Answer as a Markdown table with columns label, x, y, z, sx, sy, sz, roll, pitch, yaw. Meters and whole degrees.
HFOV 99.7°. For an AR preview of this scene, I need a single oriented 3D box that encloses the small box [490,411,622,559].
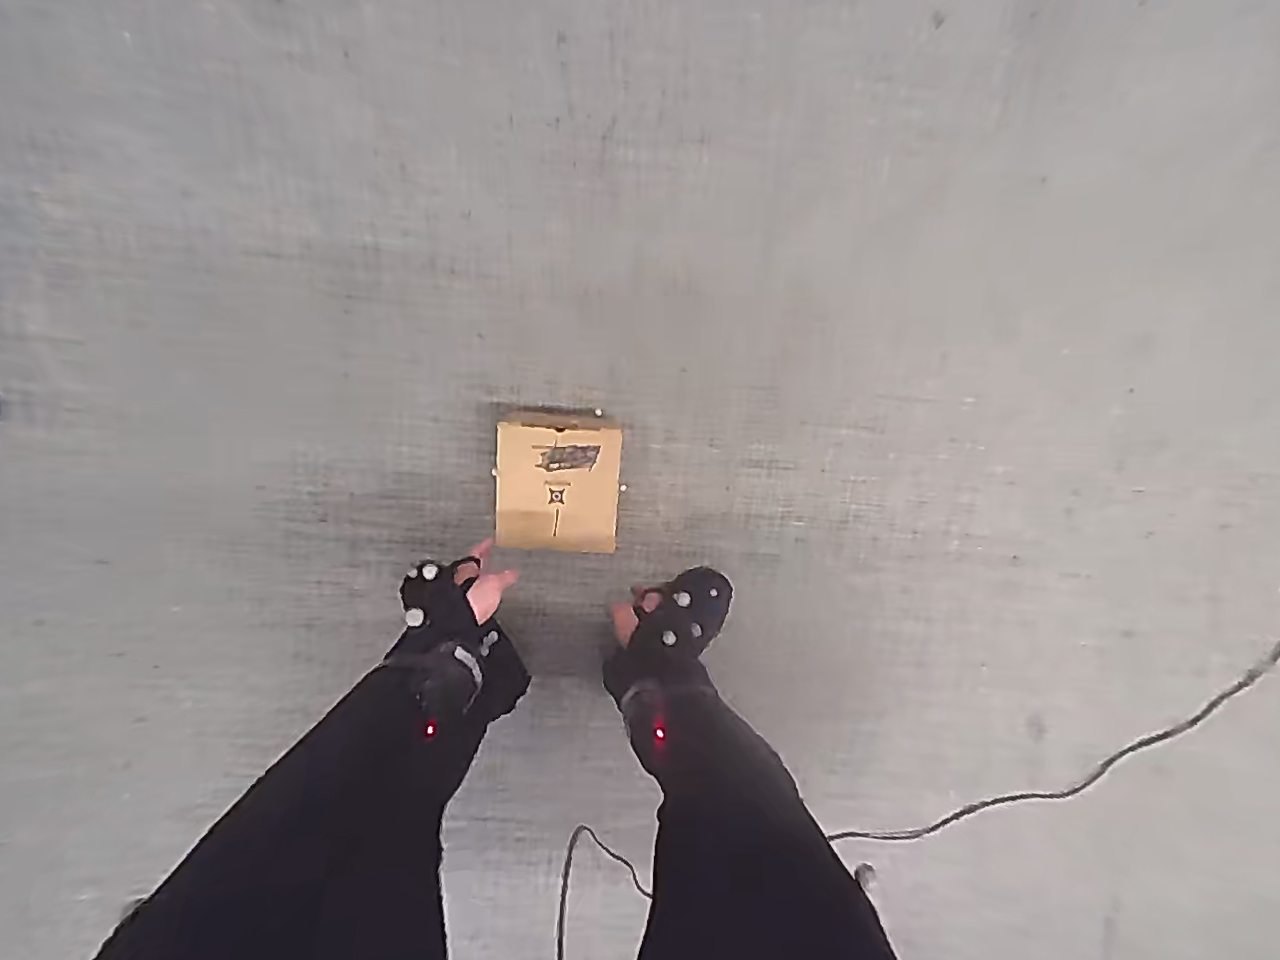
| label | x | y | z | sx | sy | sz | roll | pitch | yaw |
| --- | --- | --- | --- | --- | --- | --- | --- | --- | --- |
| small box | -0.118 | -0.001 | 0.780 | 0.168 | 0.176 | 0.179 | 3 | 105 | -5 |
